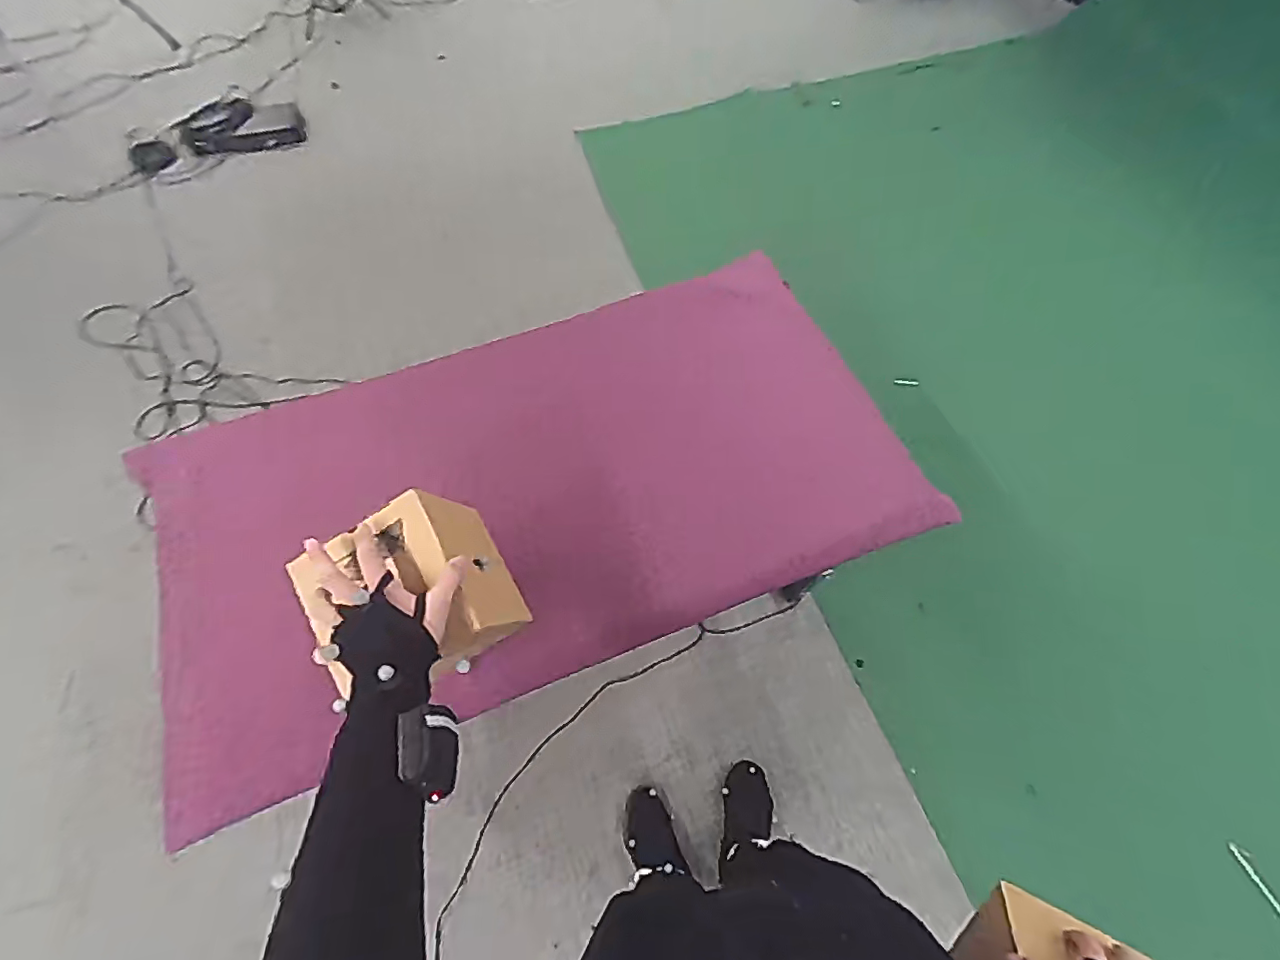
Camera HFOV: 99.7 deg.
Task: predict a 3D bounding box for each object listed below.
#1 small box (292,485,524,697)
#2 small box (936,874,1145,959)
[{"bbox_3d":[-0.269,0.132,0.661,0.168,0.176,0.179,-31,77,-1],"label":"small box"},{"bbox_3d":[0.452,0.611,0.600,0.168,0.176,0.179,22,22,18],"label":"small box"}]
